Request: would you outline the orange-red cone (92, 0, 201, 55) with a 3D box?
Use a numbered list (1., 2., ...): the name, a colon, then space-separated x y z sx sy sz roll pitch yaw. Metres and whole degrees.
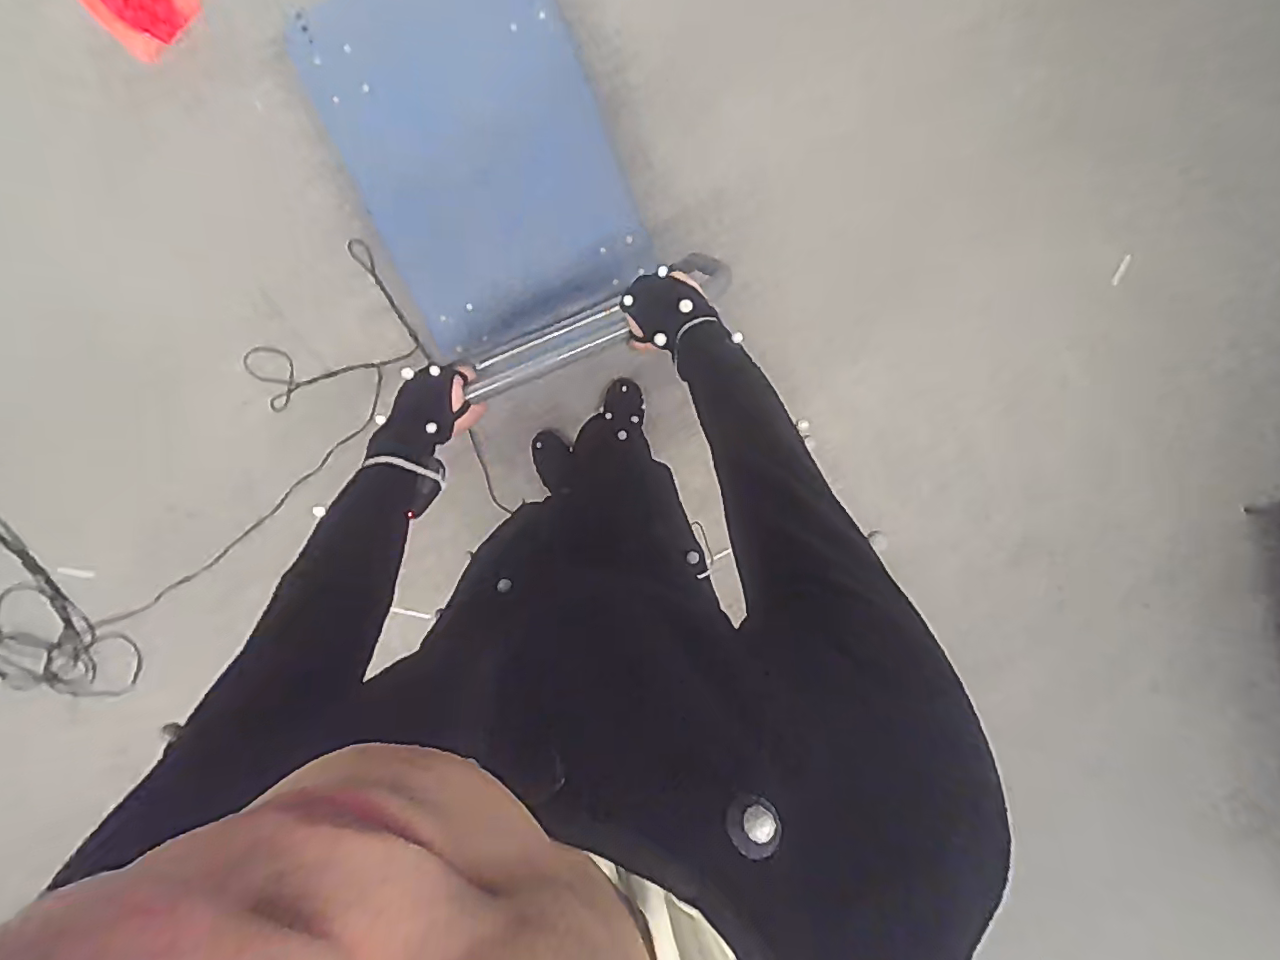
1. orange-red cone: -1.132 -1.085 1.079 0.199 0.360 0.198 -41 102 5
